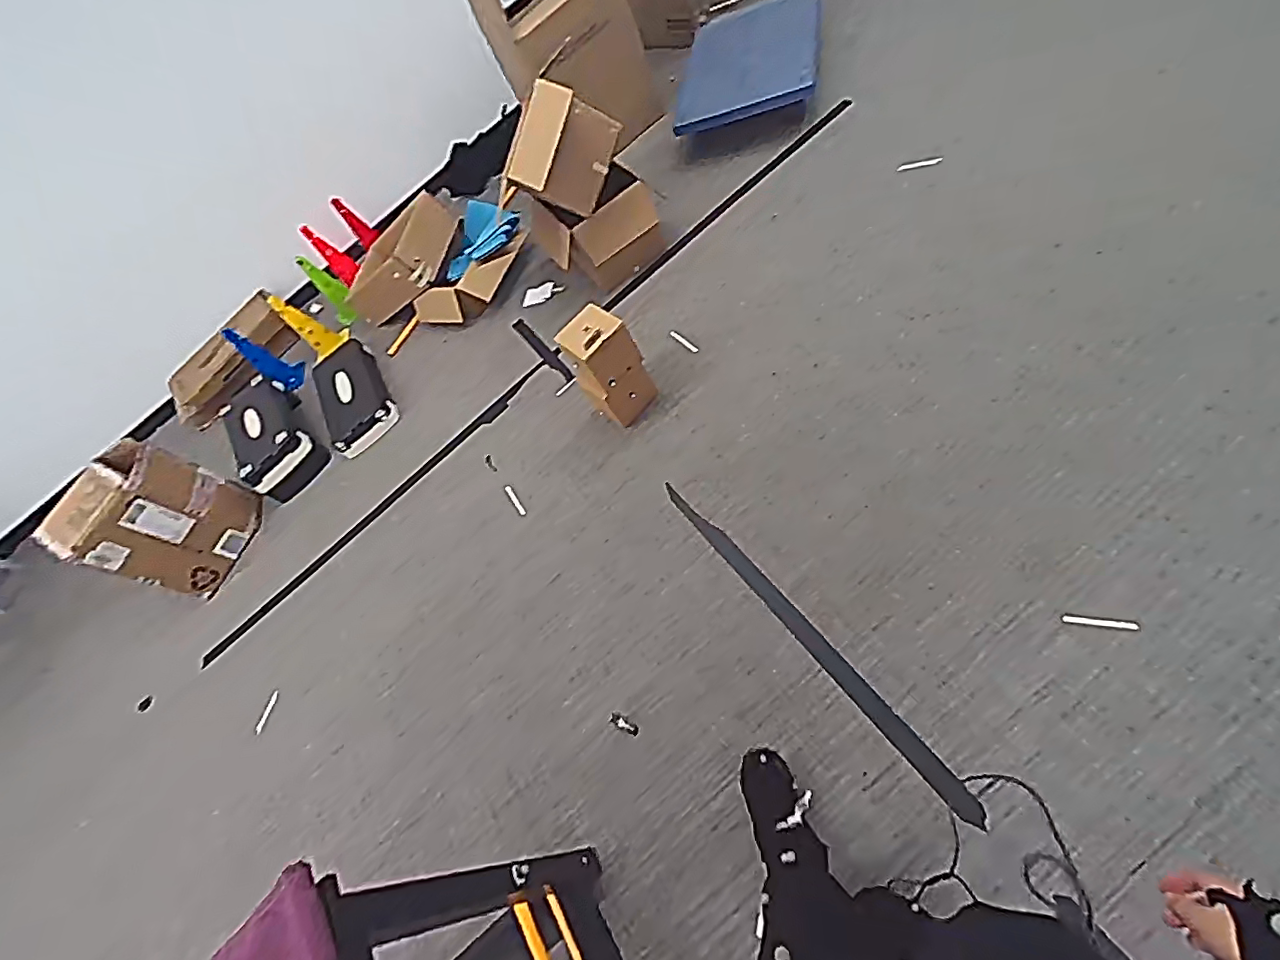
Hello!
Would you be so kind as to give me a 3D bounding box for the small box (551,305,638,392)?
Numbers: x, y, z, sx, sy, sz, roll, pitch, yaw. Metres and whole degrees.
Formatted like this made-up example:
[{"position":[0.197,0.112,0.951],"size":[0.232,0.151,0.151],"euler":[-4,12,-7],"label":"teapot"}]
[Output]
[{"position":[-0.134,-0.398,1.664],"size":[0.168,0.176,0.179],"euler":[-45,53,-6],"label":"small box"}]
